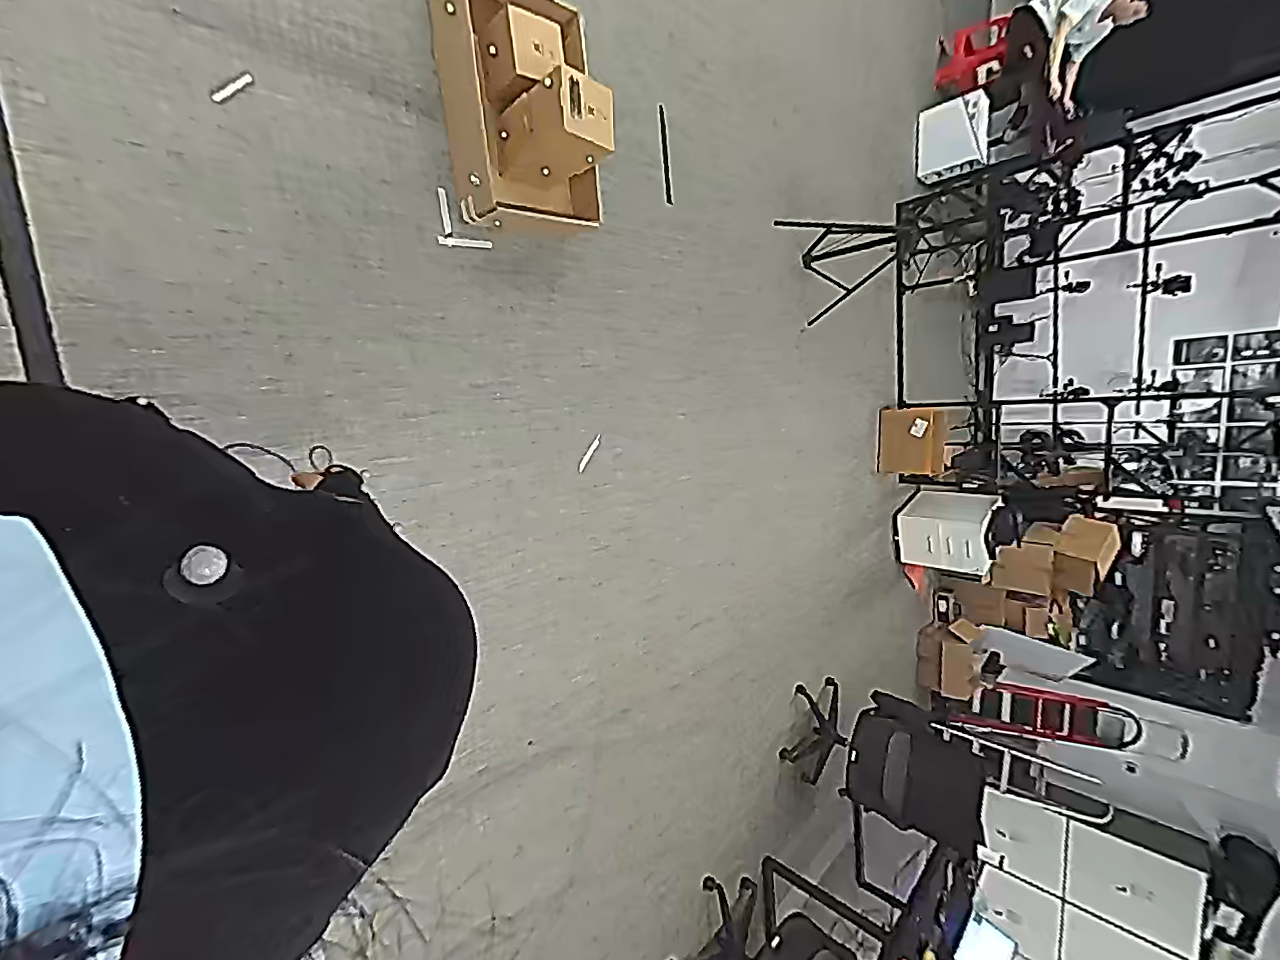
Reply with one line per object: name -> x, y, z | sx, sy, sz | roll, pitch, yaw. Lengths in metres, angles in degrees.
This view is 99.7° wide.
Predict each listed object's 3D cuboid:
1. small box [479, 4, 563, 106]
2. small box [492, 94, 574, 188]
small box -> -0.347, -1.202, 1.553 | 0.179, 0.176, 0.168 | -17, 107, -43
small box -> -0.317, -0.995, 1.609 | 0.179, 0.176, 0.168 | -9, 98, -43
